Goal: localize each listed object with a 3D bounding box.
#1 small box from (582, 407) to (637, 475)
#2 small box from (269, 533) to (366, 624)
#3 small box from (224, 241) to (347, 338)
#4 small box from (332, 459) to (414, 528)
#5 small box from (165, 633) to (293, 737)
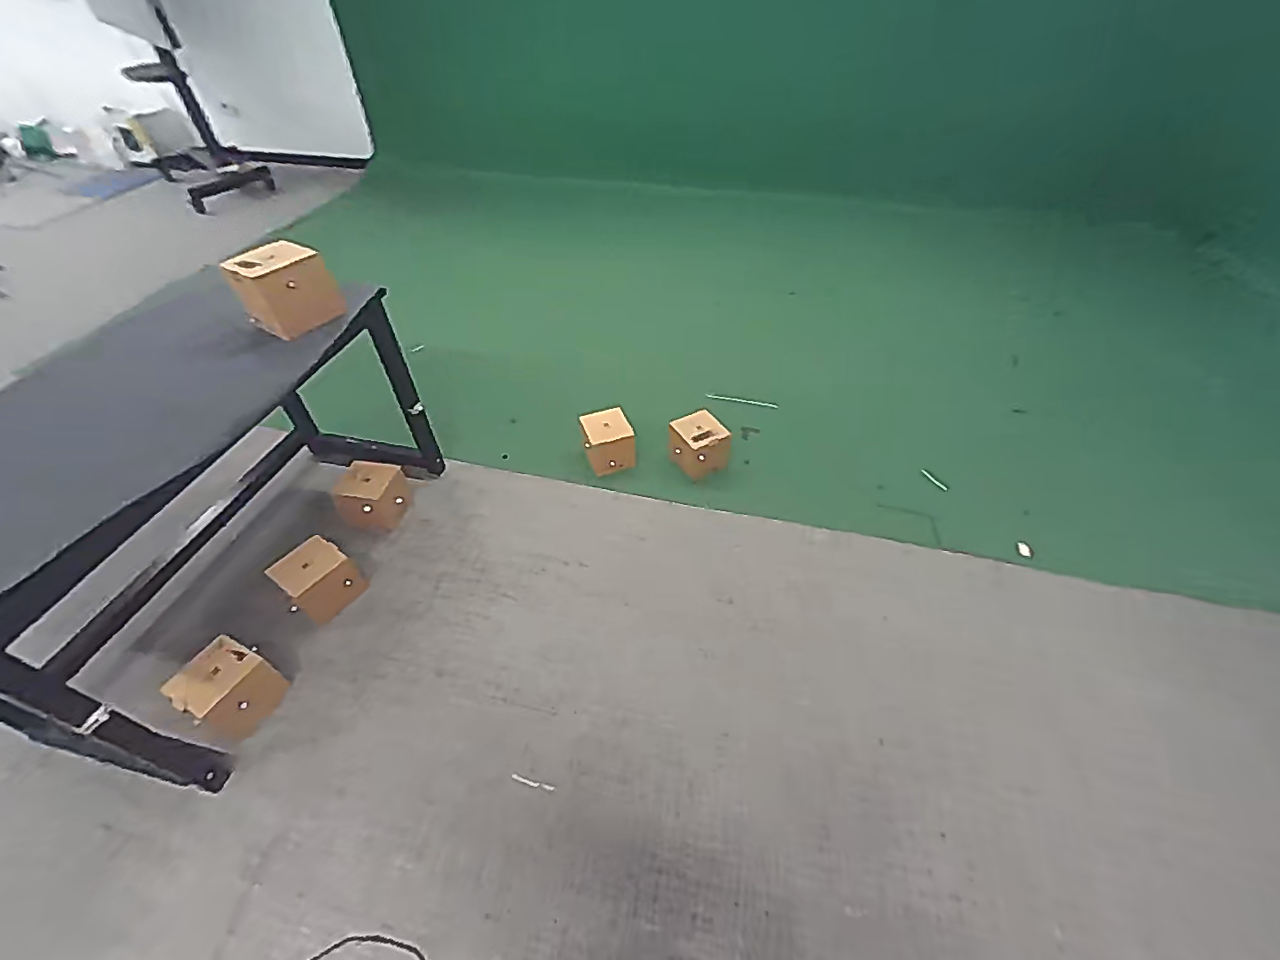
[{"bbox_3d":[-0.119,-0.150,2.082,0.168,0.176,0.179,-16,49,-14],"label":"small box"},{"bbox_3d":[-0.975,0.304,1.657,0.168,0.176,0.179,26,53,24],"label":"small box"},{"bbox_3d":[-0.909,-0.492,1.401,0.168,0.176,0.179,25,53,25],"label":"small box"},{"bbox_3d":[-0.924,0.051,1.894,0.179,0.176,0.168,6,46,7],"label":"small box"},{"bbox_3d":[-1.075,0.546,1.429,0.168,0.176,0.179,20,50,18],"label":"small box"}]
